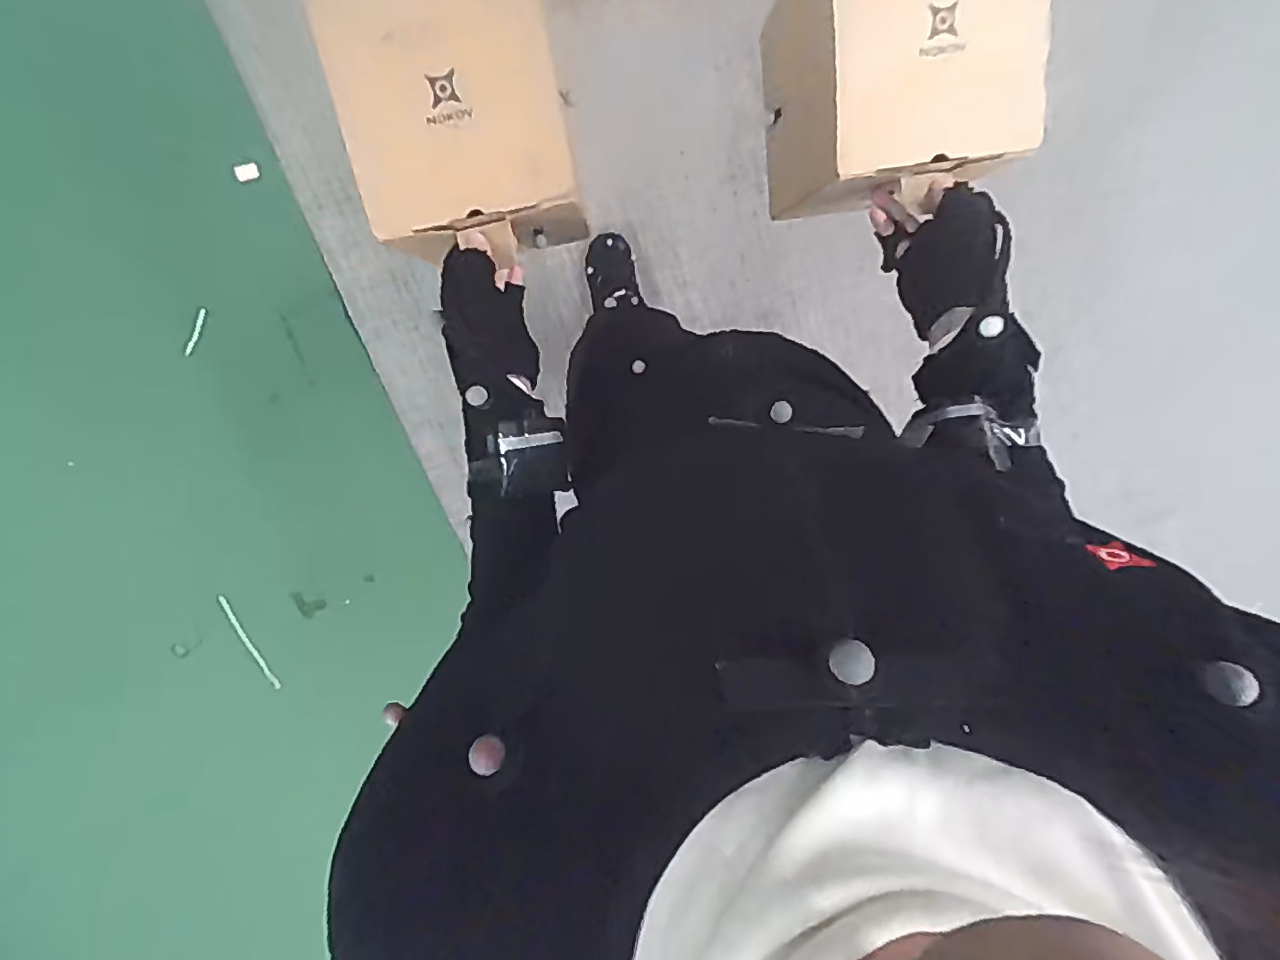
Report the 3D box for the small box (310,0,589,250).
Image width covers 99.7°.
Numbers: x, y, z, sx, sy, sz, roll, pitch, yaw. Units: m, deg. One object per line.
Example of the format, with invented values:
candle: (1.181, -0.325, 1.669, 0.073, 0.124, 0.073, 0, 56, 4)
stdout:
small box: (-0.144, -0.314, 0.476, 0.168, 0.176, 0.179, -12, 103, 1)
